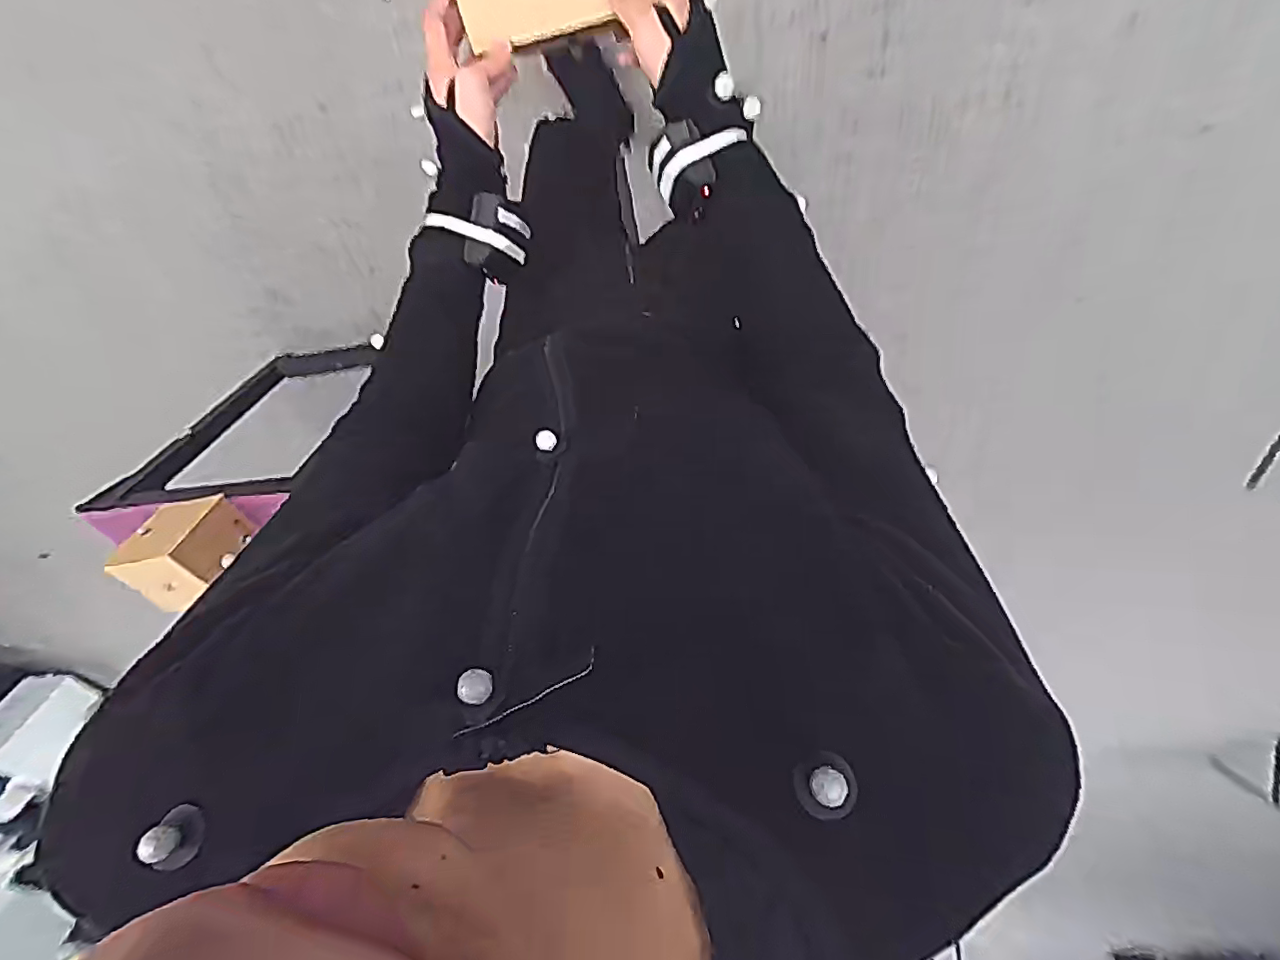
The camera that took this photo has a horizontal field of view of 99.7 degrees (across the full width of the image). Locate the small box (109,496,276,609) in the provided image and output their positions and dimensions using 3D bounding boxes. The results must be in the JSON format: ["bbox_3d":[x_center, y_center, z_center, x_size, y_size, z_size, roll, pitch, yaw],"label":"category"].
[{"bbox_3d":[-0.931,0.153,1.144,0.179,0.176,0.168,-8,133,15],"label":"small box"}]

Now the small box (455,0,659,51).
[{"bbox_3d":[-0.077,-0.491,0.462,0.168,0.176,0.179,-7,125,8],"label":"small box"}]
